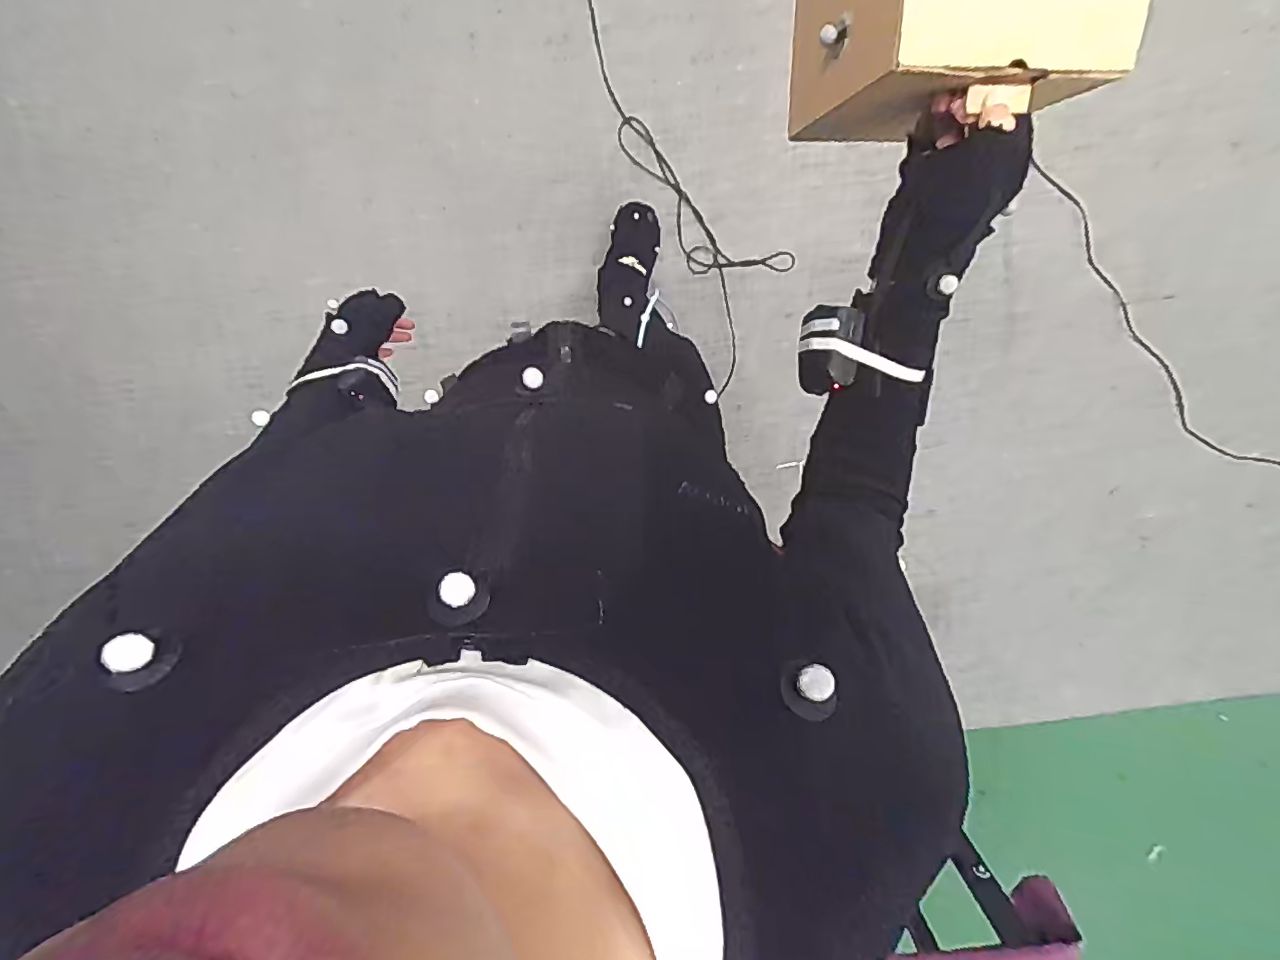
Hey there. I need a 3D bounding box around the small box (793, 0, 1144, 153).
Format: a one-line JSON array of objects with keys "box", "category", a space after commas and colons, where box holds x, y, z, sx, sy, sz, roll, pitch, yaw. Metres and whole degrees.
[{"box": [0.224, -0.354, 0.394, 0.168, 0.176, 0.179, -3, 109, -7], "category": "small box"}]
